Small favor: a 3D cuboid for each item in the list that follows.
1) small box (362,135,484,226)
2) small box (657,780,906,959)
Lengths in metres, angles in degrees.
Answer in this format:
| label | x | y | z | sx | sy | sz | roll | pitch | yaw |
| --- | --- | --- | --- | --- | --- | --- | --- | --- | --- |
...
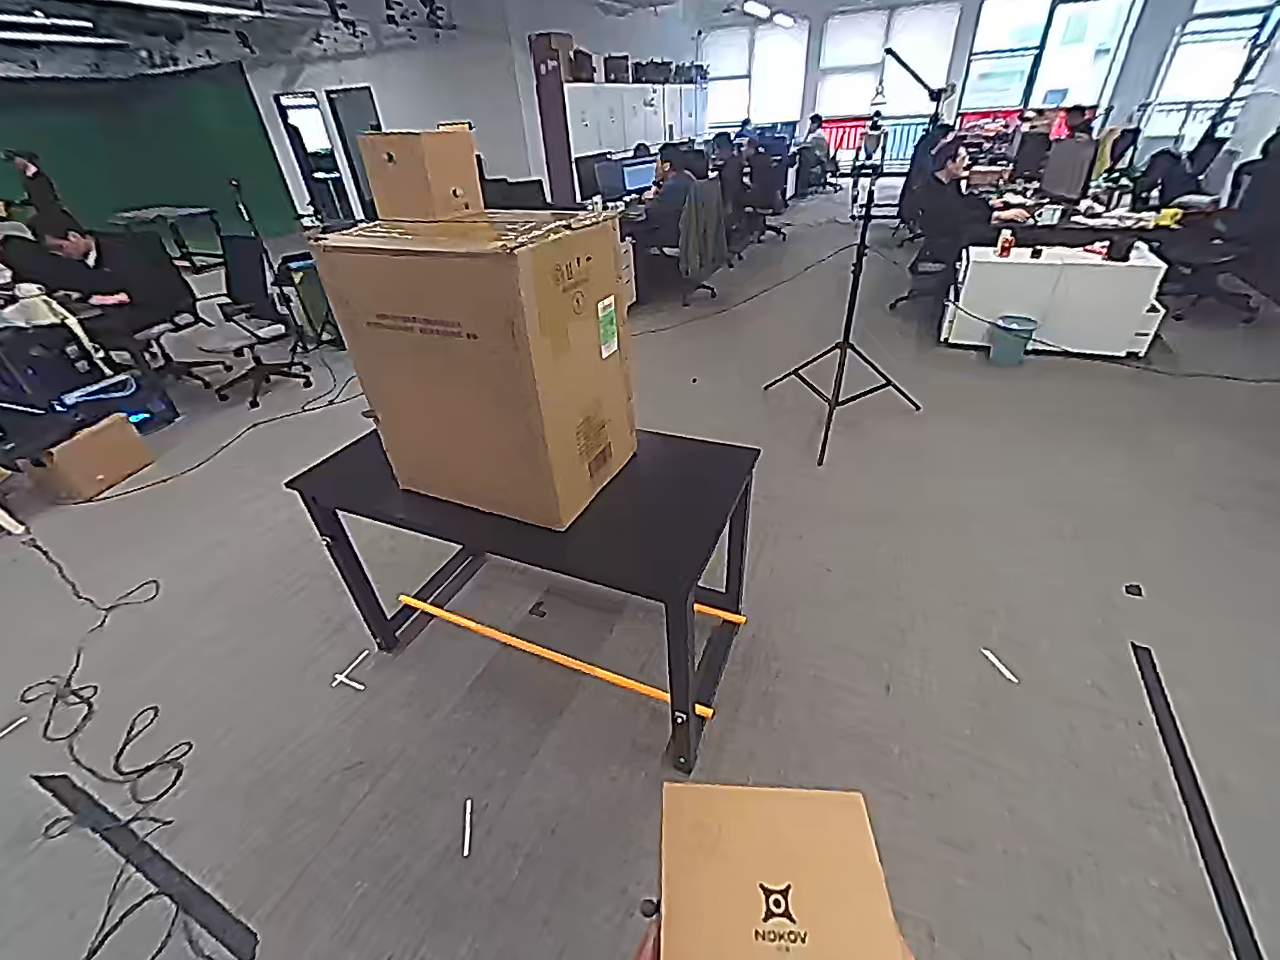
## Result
| label | x | y | z | sx | sy | sz | roll | pitch | yaw |
| --- | --- | --- | --- | --- | --- | --- | --- | --- | --- |
| small box | -0.482 | -0.677 | 1.222 | 0.179 | 0.176 | 0.168 | 13 | 36 | 21 |
| small box | 0.098 | 0.369 | 0.429 | 0.168 | 0.176 | 0.179 | 1 | 39 | 3 |
